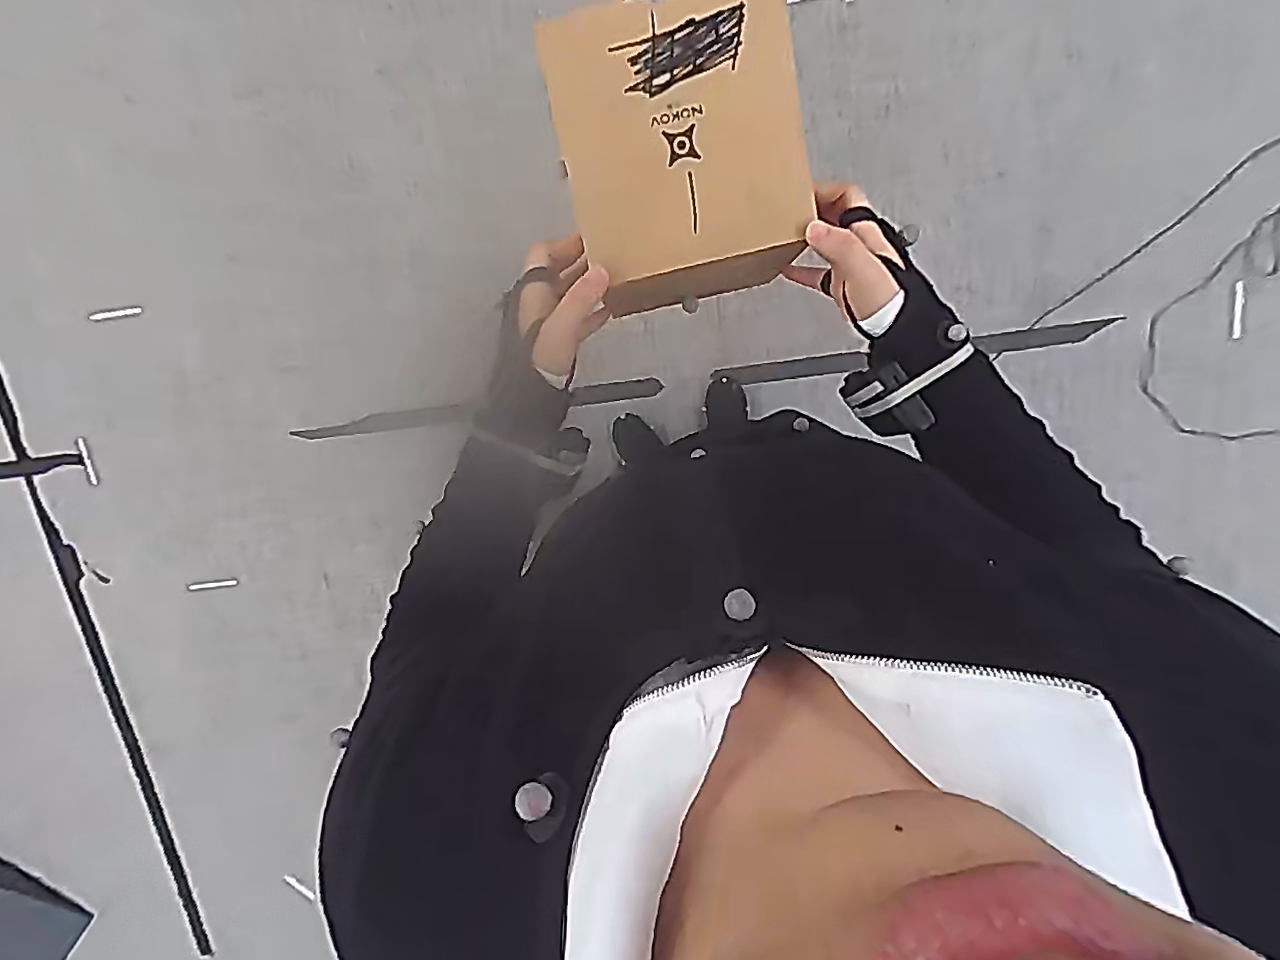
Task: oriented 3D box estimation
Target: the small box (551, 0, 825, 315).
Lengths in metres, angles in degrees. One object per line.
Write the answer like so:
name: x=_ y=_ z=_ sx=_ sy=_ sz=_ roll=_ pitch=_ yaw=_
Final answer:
small box: x=0.036 y=-0.251 z=0.450 sx=0.168 sy=0.176 sz=0.179 roll=-12 pitch=99 yaw=4
